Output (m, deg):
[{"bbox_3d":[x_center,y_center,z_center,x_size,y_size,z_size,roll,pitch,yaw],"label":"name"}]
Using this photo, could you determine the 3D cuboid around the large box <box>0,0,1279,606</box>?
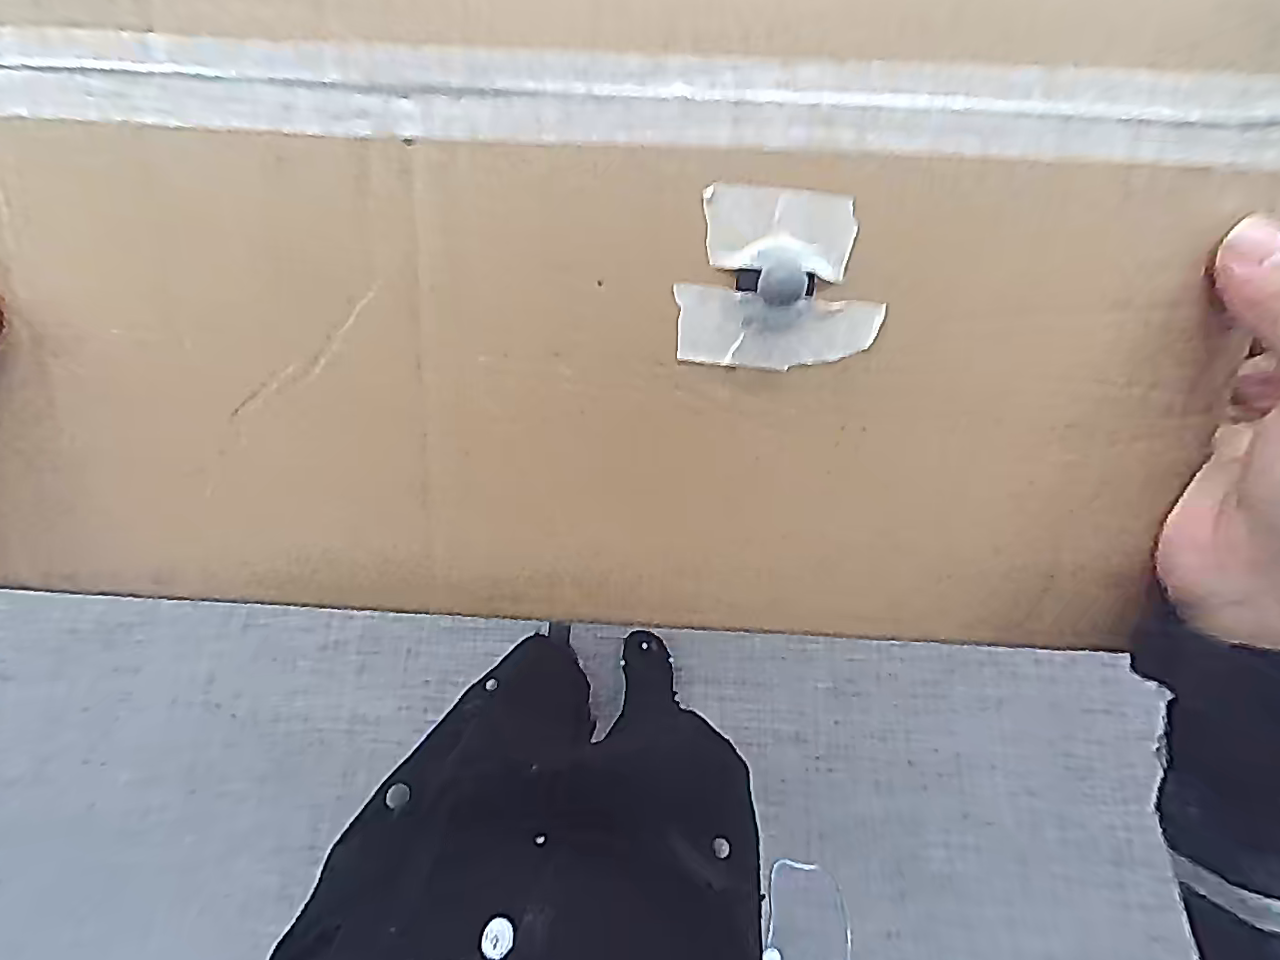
[{"bbox_3d":[-0.020,-0.143,0.304,0.408,0.320,0.320,2,105,0],"label":"large box"}]
